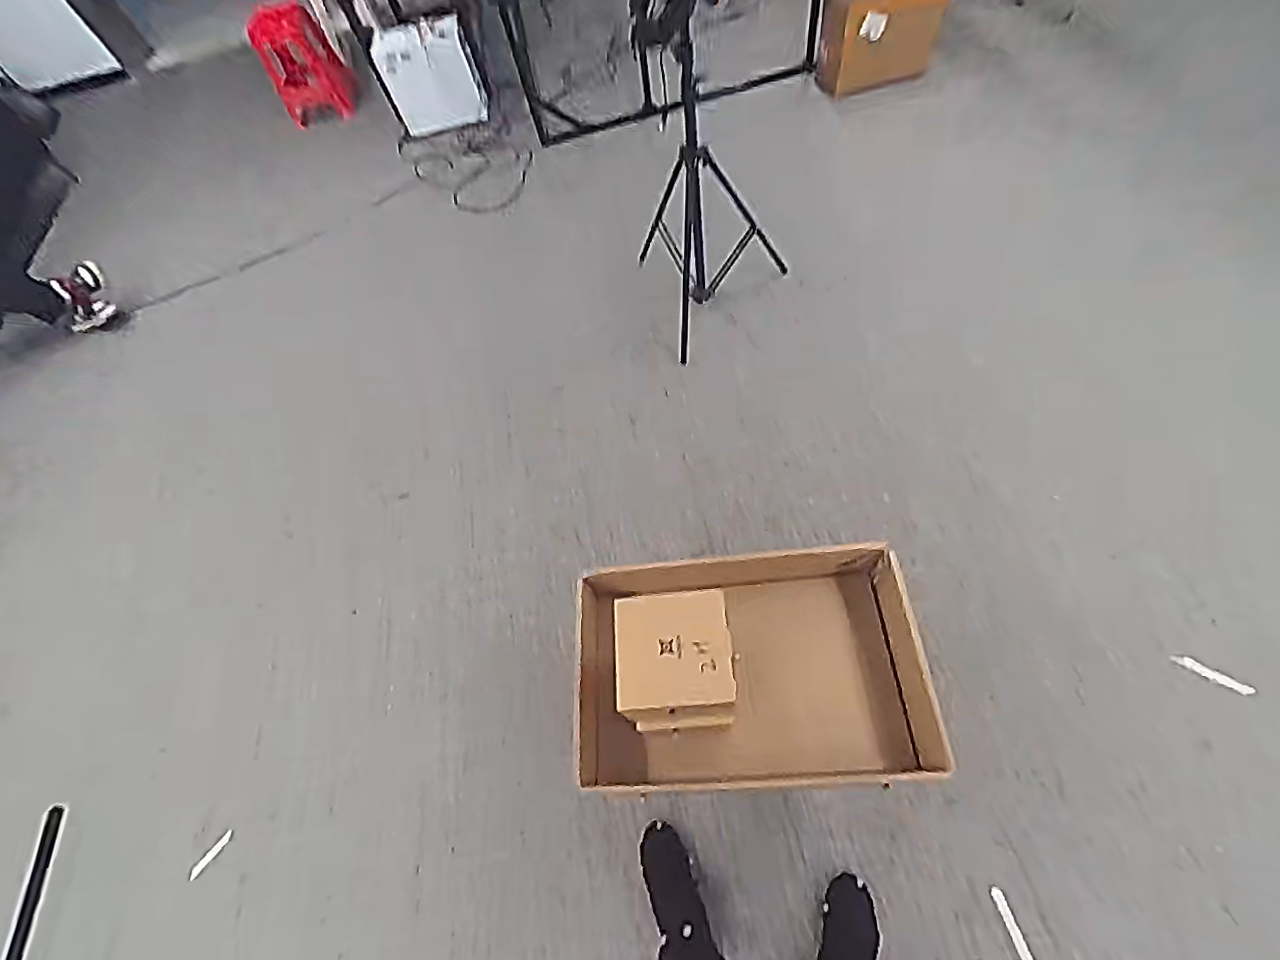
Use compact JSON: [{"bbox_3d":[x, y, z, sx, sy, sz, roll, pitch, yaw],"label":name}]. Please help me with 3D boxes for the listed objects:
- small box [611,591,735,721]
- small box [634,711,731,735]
[{"bbox_3d":[0.056,0.289,0.871,0.179,0.176,0.168,-6,60,6],"label":"small box"},{"bbox_3d":[0.078,0.375,1.010,0.168,0.176,0.179,-8,60,5],"label":"small box"}]
